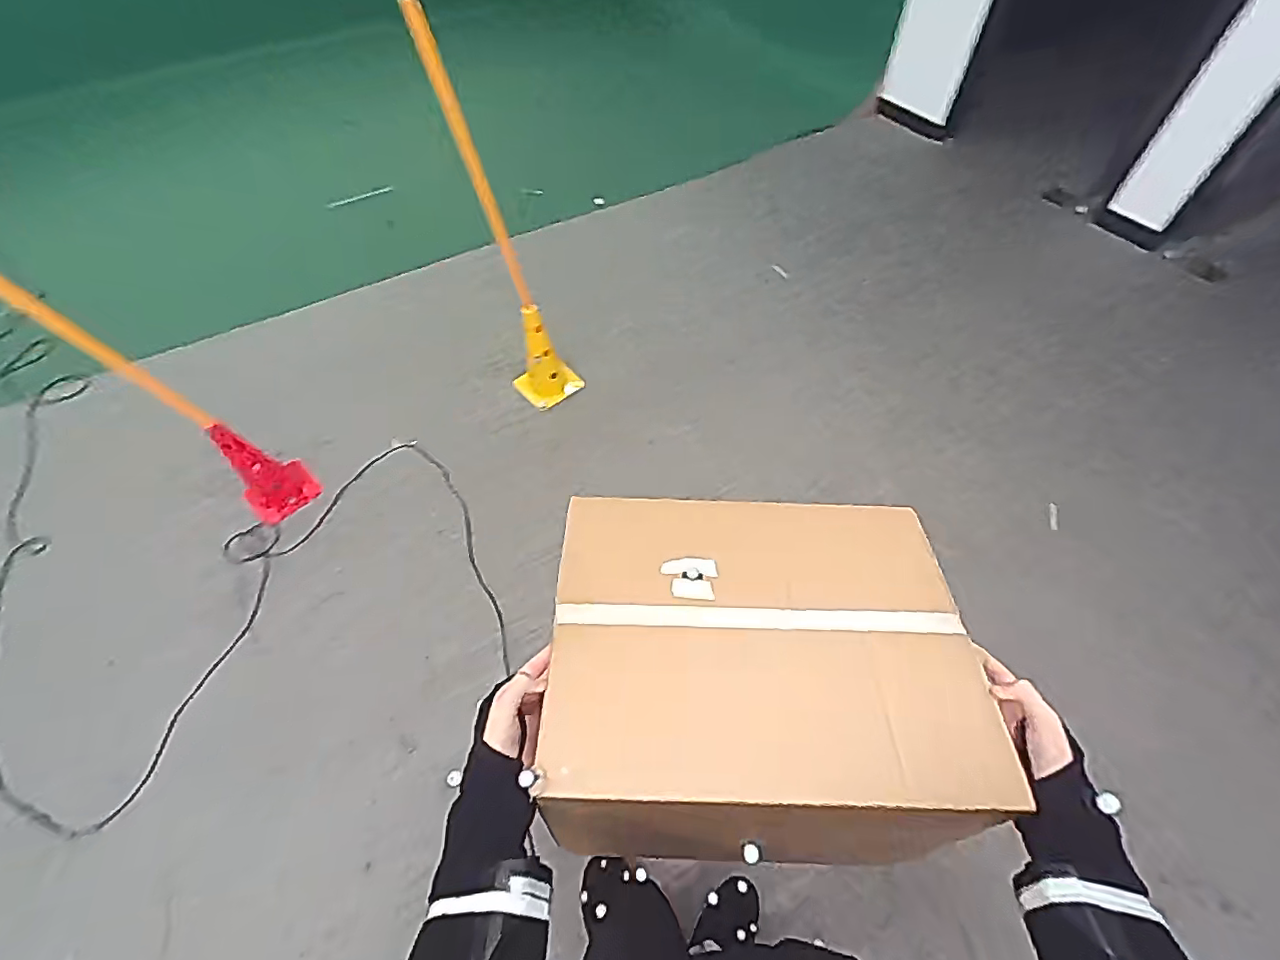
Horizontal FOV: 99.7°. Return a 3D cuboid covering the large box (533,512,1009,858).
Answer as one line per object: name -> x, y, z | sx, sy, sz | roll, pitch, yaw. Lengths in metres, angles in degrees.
large box -> 0.110, 0.252, 0.652 | 0.408, 0.320, 0.320 | 0, 47, 0
